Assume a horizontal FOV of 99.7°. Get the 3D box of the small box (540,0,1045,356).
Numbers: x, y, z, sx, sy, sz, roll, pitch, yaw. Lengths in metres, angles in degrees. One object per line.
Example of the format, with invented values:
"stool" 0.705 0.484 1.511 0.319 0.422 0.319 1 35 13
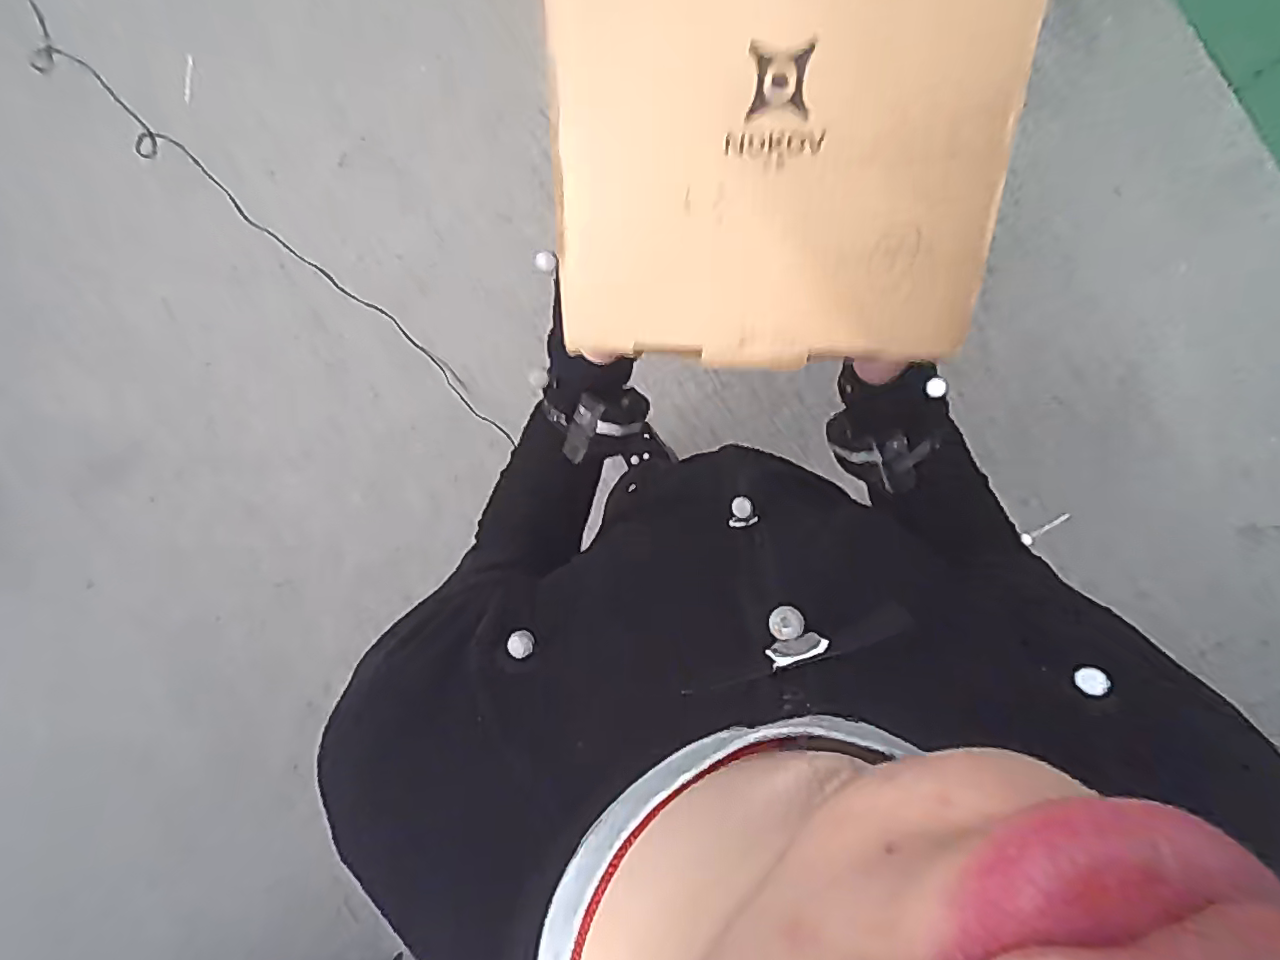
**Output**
"small box" 0.054 -0.165 0.261 0.168 0.176 0.179 2 113 4
